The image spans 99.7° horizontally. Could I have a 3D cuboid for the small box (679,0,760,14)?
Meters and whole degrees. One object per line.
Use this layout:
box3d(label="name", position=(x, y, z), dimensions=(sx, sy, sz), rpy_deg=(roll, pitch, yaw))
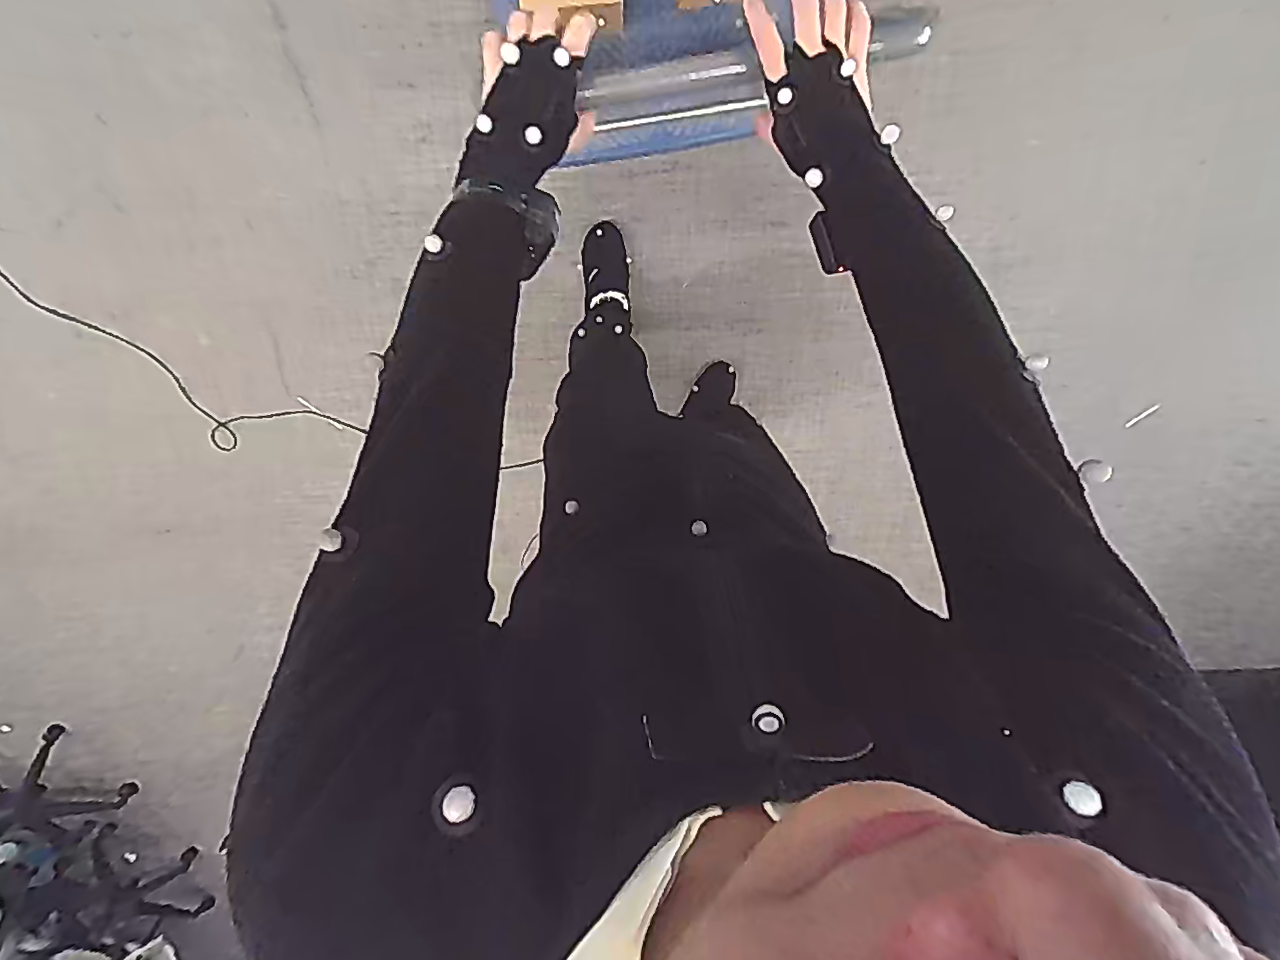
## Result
box3d(label="small box", position=(0.149, -0.963, 0.945), dimensions=(0.168, 0.176, 0.179), rpy_deg=(-7, 115, 2))
